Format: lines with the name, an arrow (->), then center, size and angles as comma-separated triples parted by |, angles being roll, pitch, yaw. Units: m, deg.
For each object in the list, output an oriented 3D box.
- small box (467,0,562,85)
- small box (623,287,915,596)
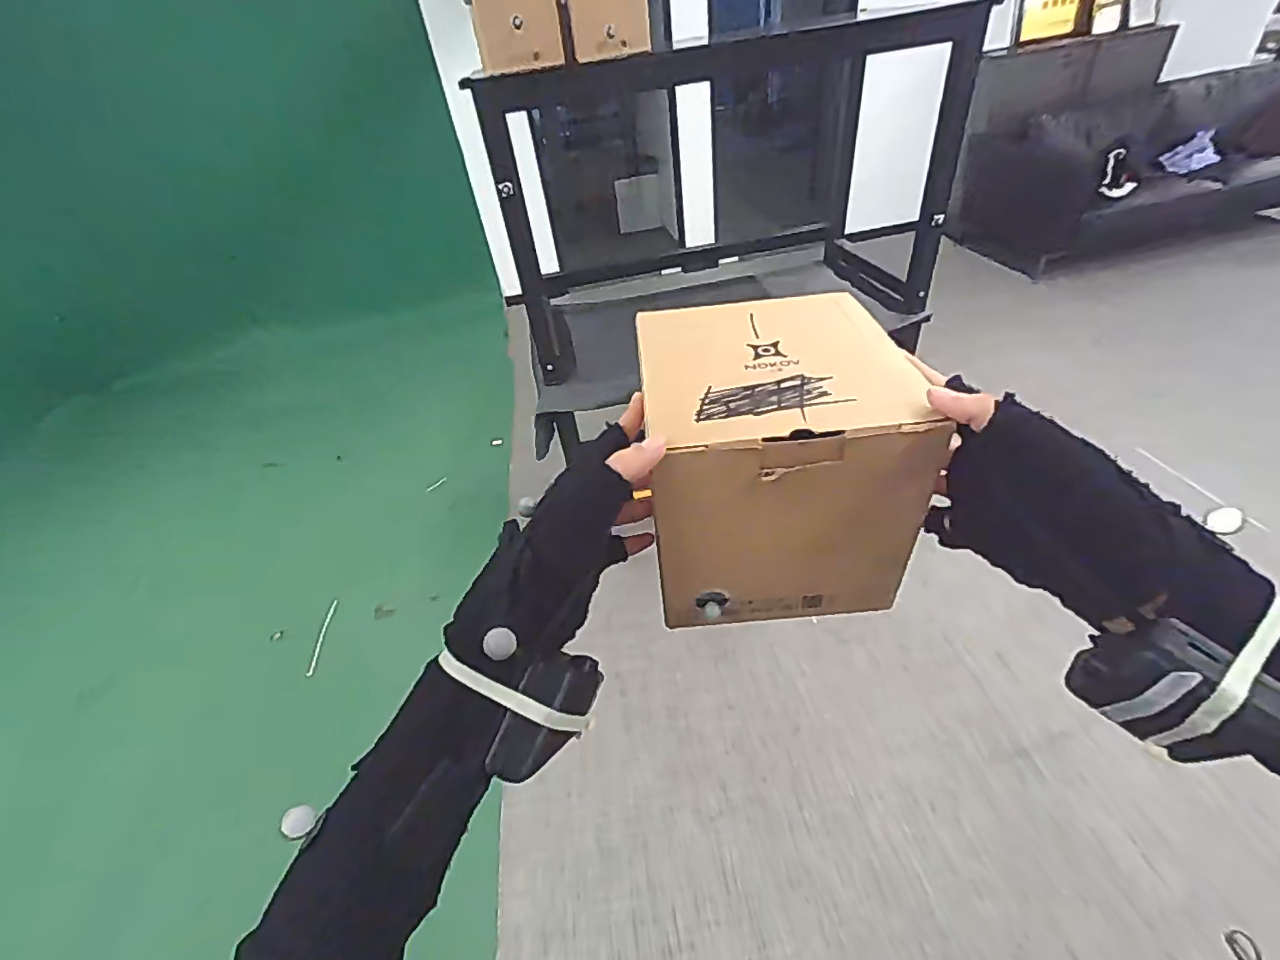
small box -> -0.279, -0.995, 1.204 | 0.168, 0.176, 0.179 | -15, 39, -10
small box -> 0.078, -0.026, 0.413 | 0.168, 0.176, 0.179 | -5, 39, 2
